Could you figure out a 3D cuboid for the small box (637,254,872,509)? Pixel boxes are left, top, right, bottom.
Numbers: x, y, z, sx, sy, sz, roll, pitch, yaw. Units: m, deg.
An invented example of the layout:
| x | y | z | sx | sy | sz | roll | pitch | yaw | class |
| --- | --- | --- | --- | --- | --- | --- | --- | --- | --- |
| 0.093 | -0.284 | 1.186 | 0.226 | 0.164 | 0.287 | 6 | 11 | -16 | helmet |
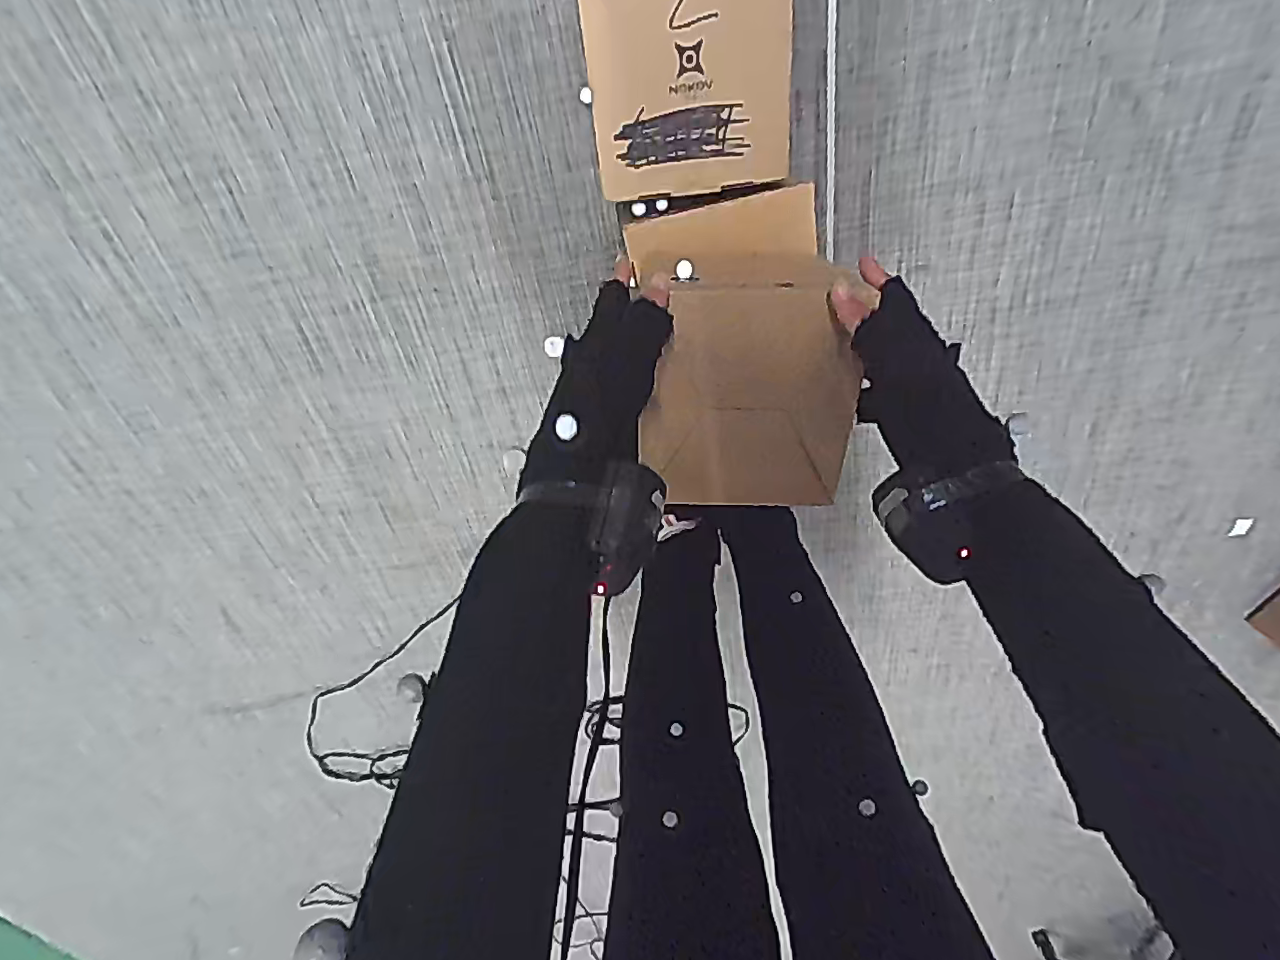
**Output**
| x | y | z | sx | sy | sz | roll | pitch | yaw | class |
| --- | --- | --- | --- | --- | --- | --- | --- | --- | --- |
| 0.084 | -0.093 | 0.477 | 0.168 | 0.176 | 0.179 | 1 | 120 | 2 | small box |
